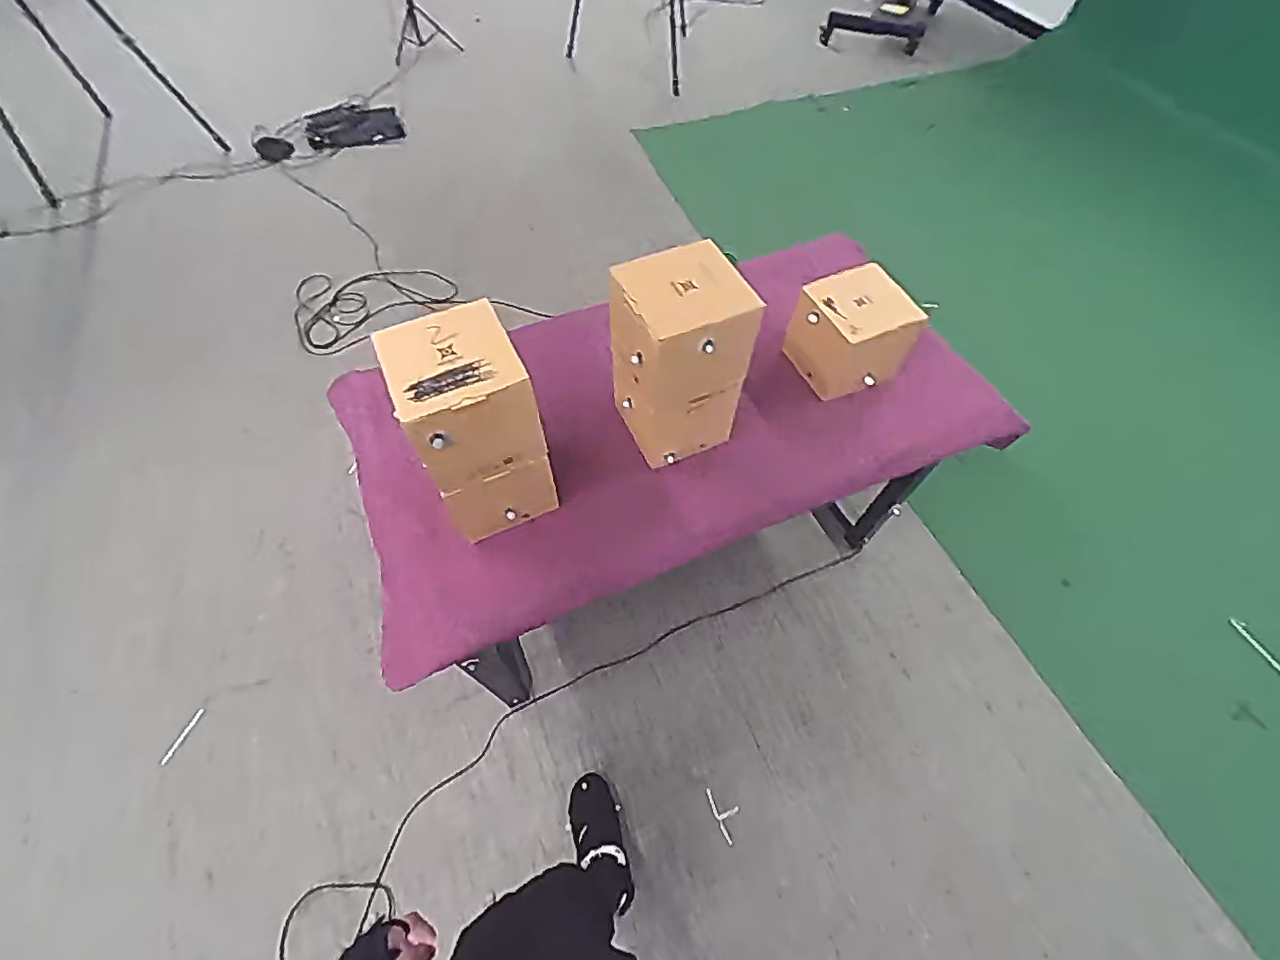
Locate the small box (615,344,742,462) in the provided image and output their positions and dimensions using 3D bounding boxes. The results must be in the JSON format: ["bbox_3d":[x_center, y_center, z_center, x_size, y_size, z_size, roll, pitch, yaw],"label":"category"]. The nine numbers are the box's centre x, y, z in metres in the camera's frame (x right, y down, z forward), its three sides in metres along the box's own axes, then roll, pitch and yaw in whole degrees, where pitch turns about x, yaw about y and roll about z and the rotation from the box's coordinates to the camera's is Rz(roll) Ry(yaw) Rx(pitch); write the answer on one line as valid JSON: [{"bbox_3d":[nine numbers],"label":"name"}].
[{"bbox_3d":[0.063,-0.153,0.989,0.168,0.176,0.179,-21,61,-14],"label":"small box"}]

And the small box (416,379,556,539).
[{"bbox_3d":[-0.250,-0.031,0.903,0.168,0.176,0.179,-22,62,-14],"label":"small box"}]

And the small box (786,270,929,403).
[{"bbox_3d":[0.421,-0.283,1.078,0.179,0.176,0.168,-20,61,-13],"label":"small box"}]

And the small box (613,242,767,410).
[{"bbox_3d":[0.069,-0.235,0.848,0.179,0.176,0.168,-20,62,-14],"label":"small box"}]
